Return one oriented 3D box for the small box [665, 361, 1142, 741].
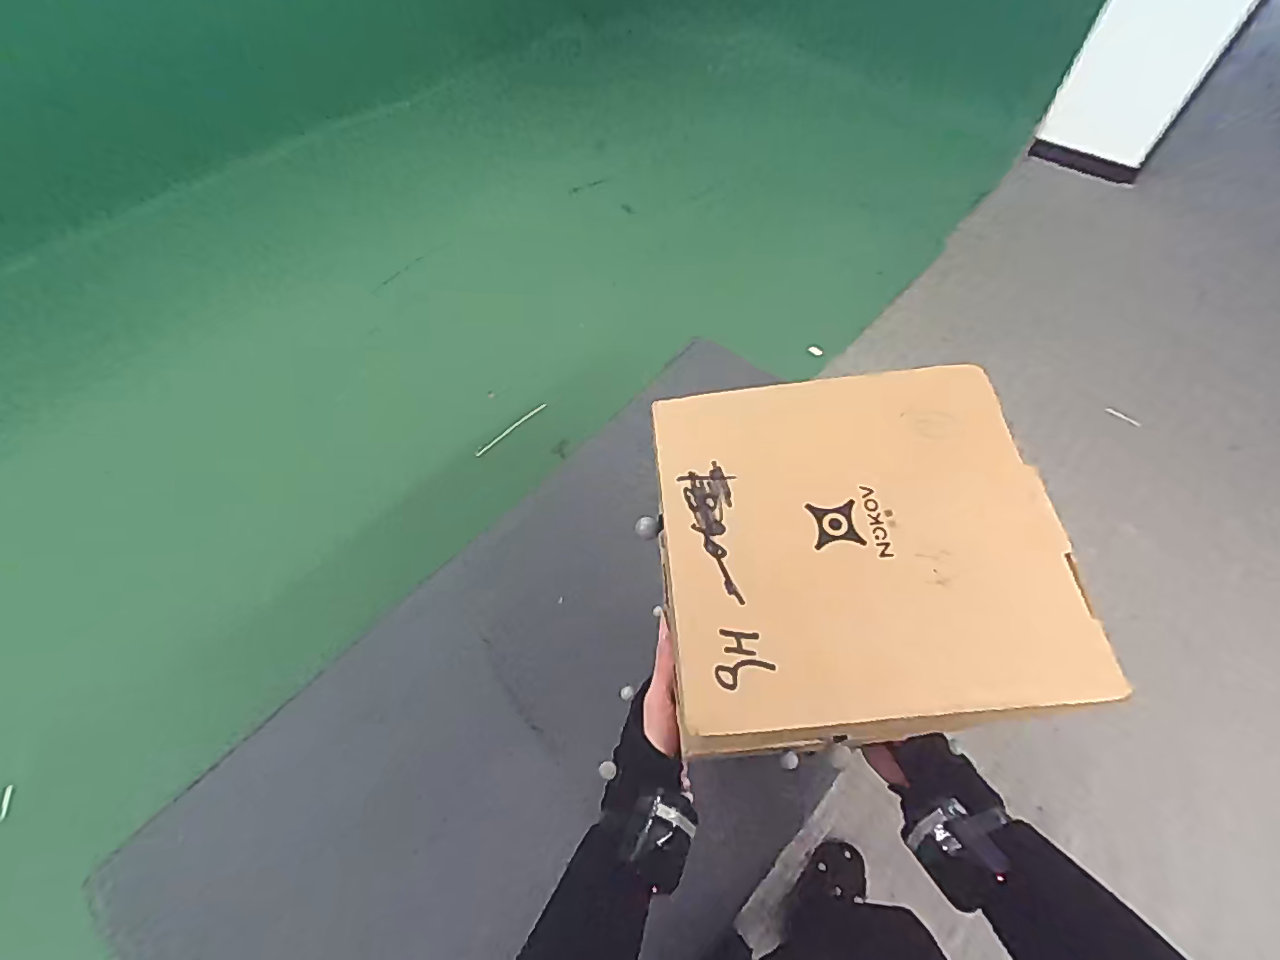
[{"bbox_3d":[0.107,0.054,0.314,0.179,0.176,0.168,-5,61,2],"label":"small box"}]
